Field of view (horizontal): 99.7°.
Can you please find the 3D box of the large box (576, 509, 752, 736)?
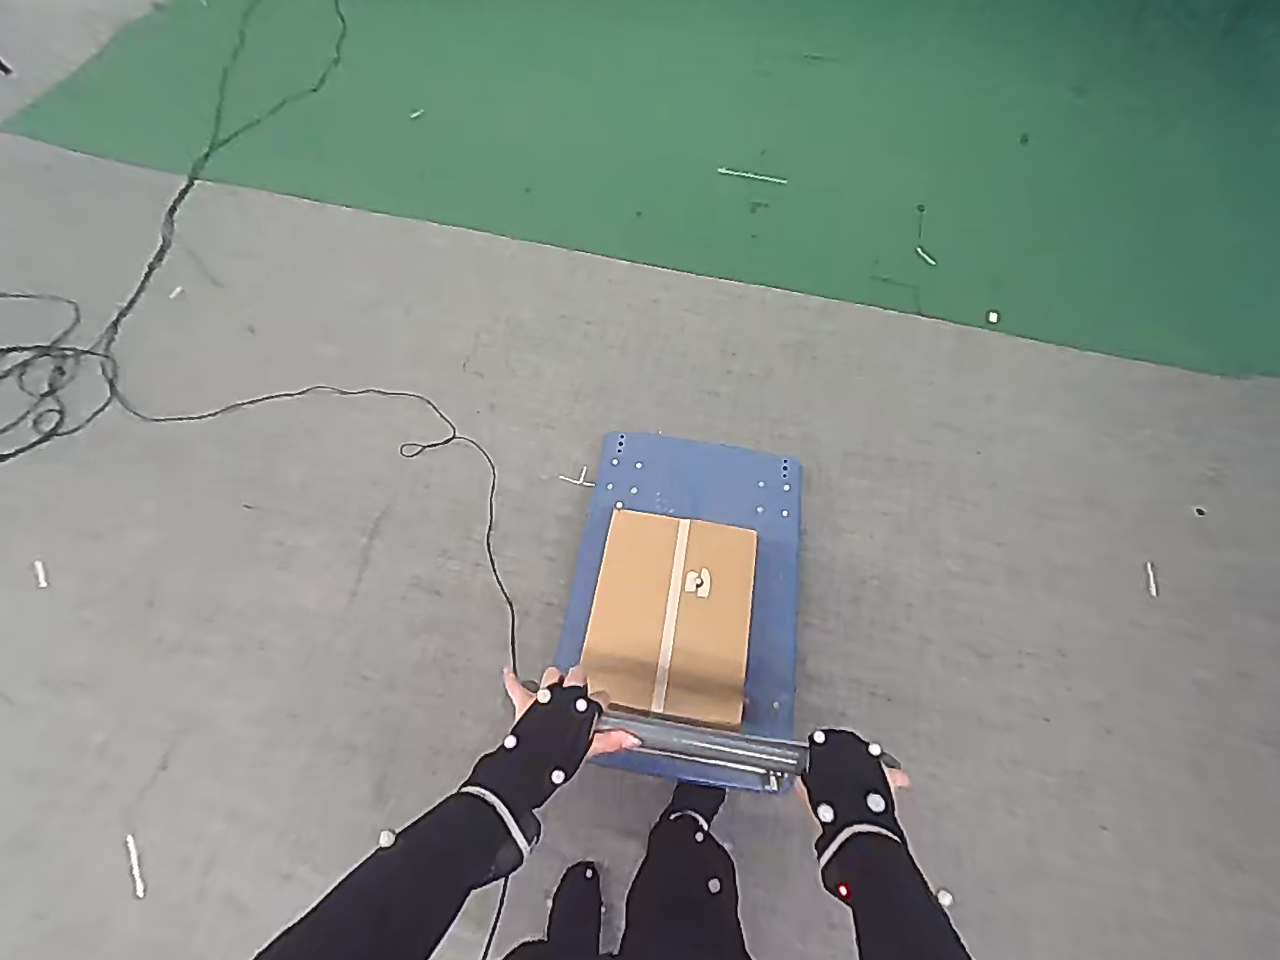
[{"bbox_3d":[0.060,0.327,1.211,0.320,0.320,0.408,9,63,4],"label":"large box"}]
